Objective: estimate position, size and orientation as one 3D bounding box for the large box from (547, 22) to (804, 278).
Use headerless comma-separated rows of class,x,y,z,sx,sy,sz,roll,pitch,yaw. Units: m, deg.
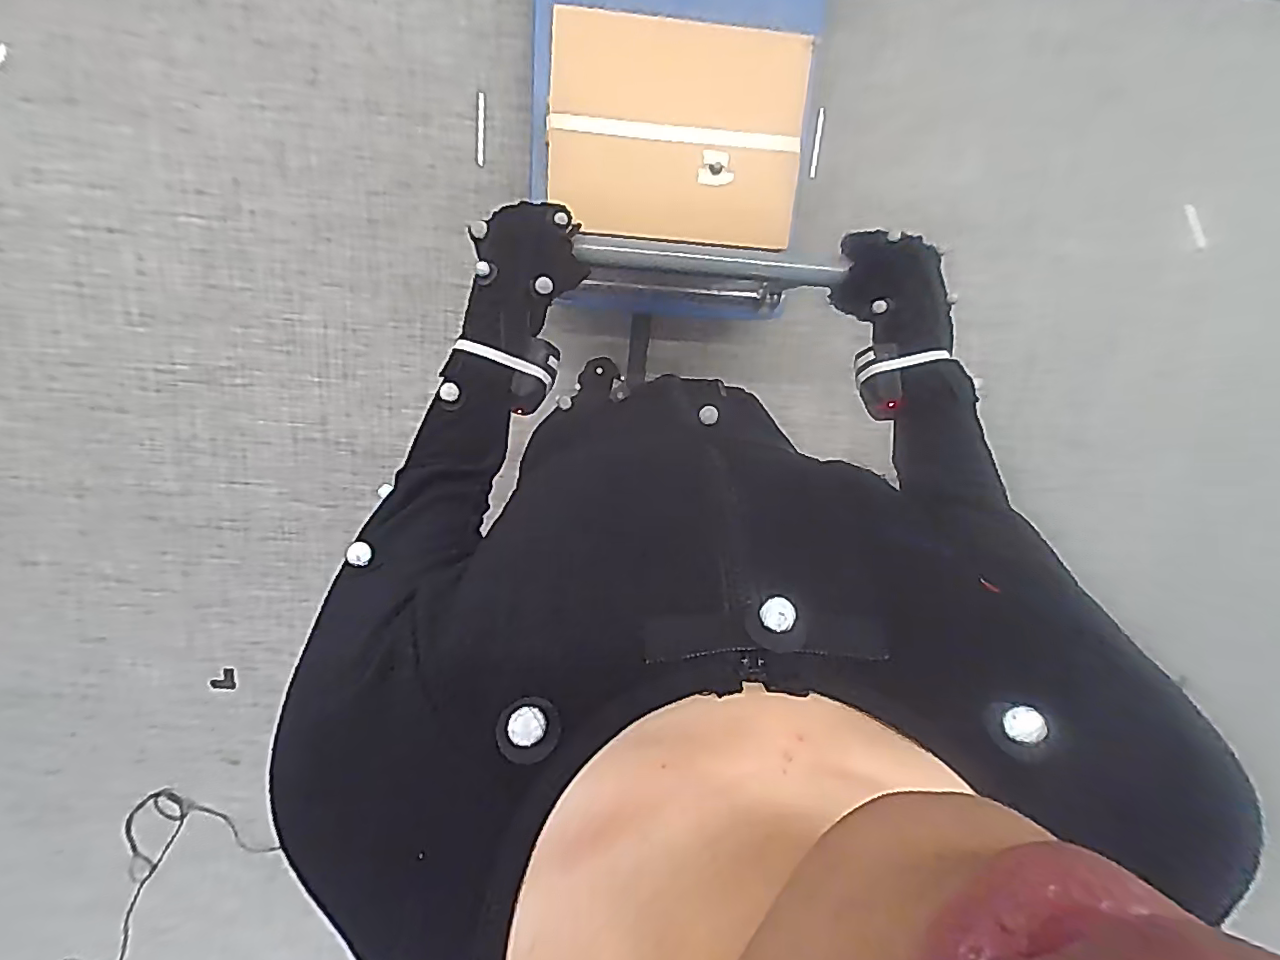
large box,0.040,-0.569,1.007,0.408,0.320,0.320,3,104,-5
